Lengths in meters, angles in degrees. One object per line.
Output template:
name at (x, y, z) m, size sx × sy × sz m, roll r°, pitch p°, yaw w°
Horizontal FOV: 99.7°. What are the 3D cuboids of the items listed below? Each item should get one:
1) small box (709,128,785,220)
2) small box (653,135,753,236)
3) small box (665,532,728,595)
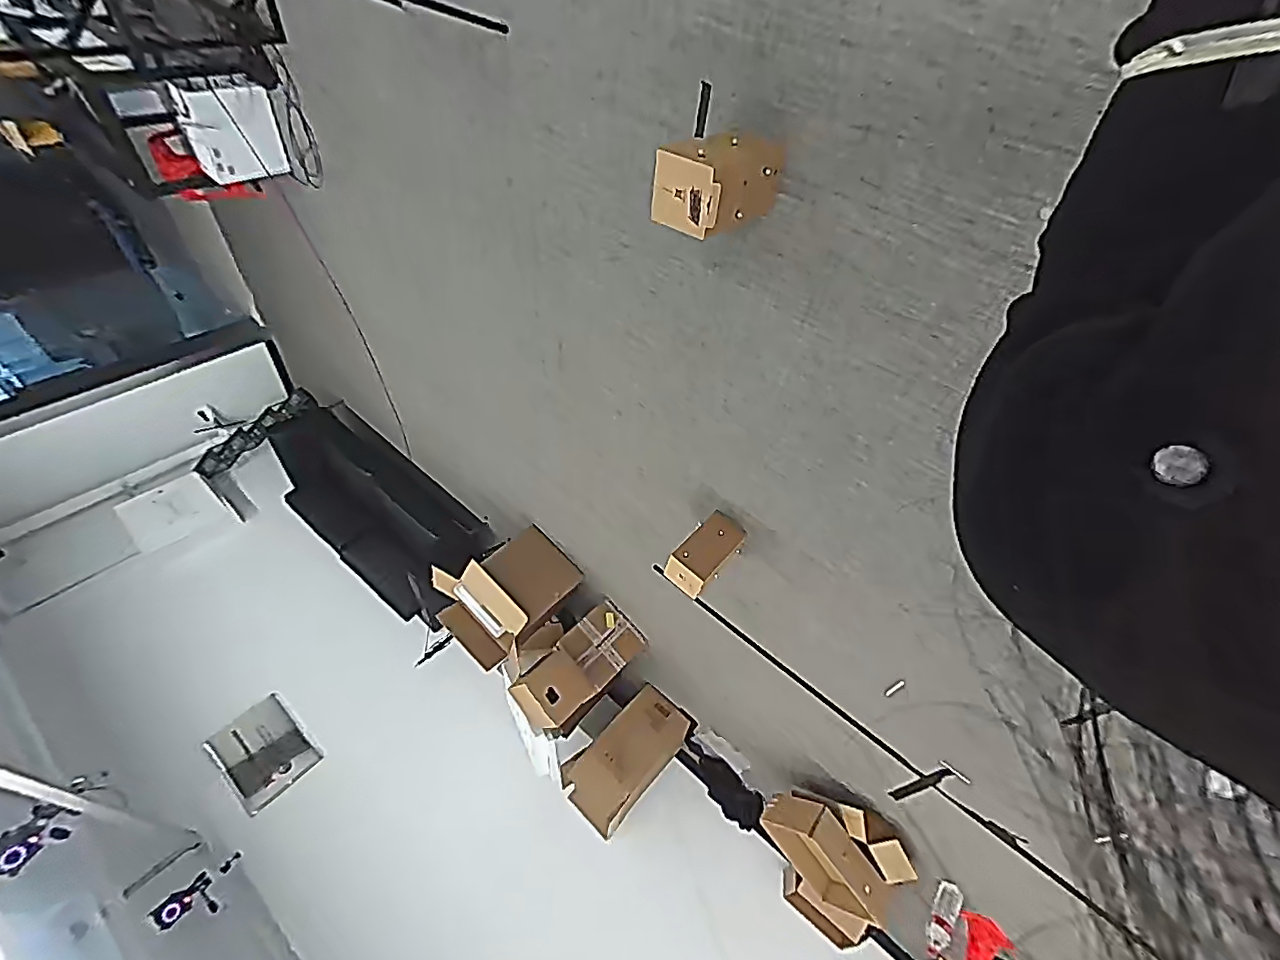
small box at (0.262, -0.824, 1.447) m, size 0.179 × 0.176 × 0.168 m, roll 34°, pitch 142°, yaw 25°
small box at (0.157, -0.741, 1.351) m, size 0.179 × 0.176 × 0.168 m, roll 34°, pitch 142°, yaw 24°
small box at (0.237, 0.341, 2.268) m, size 0.179 × 0.176 × 0.168 m, roll 38°, pitch 145°, yaw 18°
